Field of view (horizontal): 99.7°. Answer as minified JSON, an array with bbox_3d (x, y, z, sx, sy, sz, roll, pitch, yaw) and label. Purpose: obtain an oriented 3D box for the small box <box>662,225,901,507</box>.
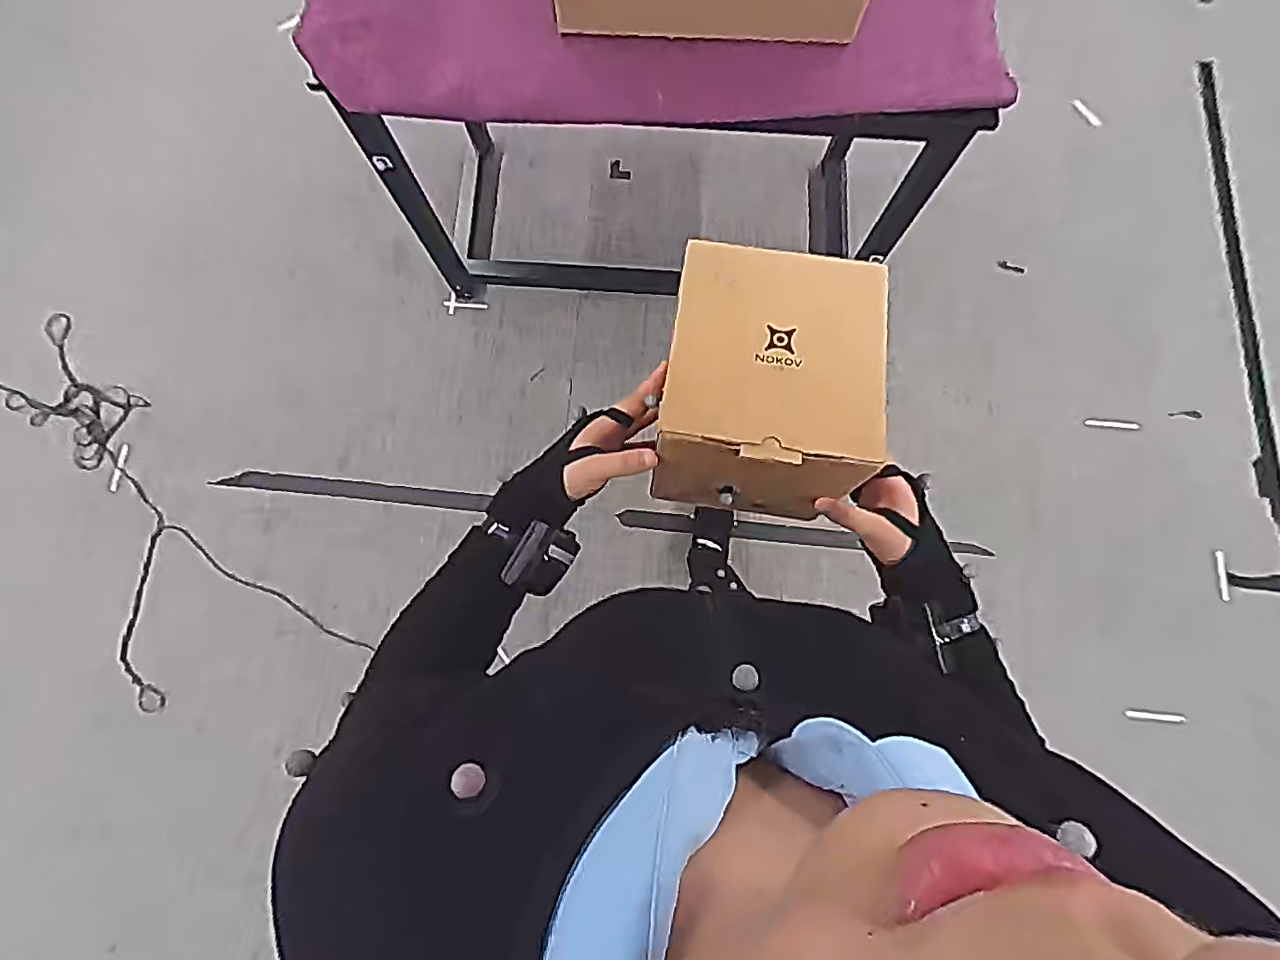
[{"bbox_3d":[0.112,-0.089,0.484,0.168,0.176,0.179,8,73,2],"label":"small box"}]
